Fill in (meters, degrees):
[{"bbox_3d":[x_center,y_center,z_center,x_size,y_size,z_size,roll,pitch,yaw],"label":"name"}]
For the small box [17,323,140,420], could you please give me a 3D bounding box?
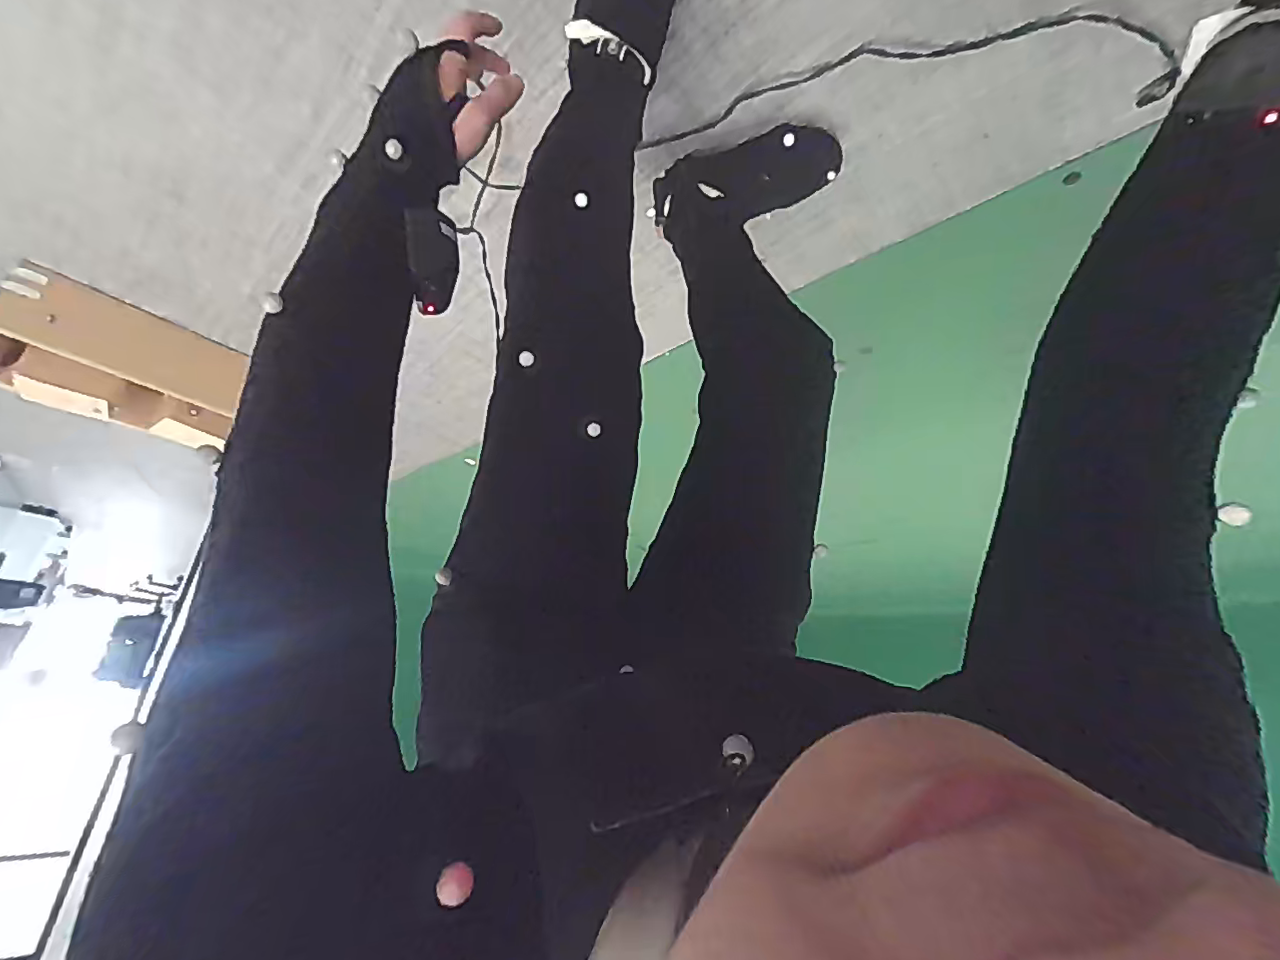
[{"bbox_3d":[-1.472,-0.288,1.426,0.179,0.176,0.168,23,151,-37],"label":"small box"}]
